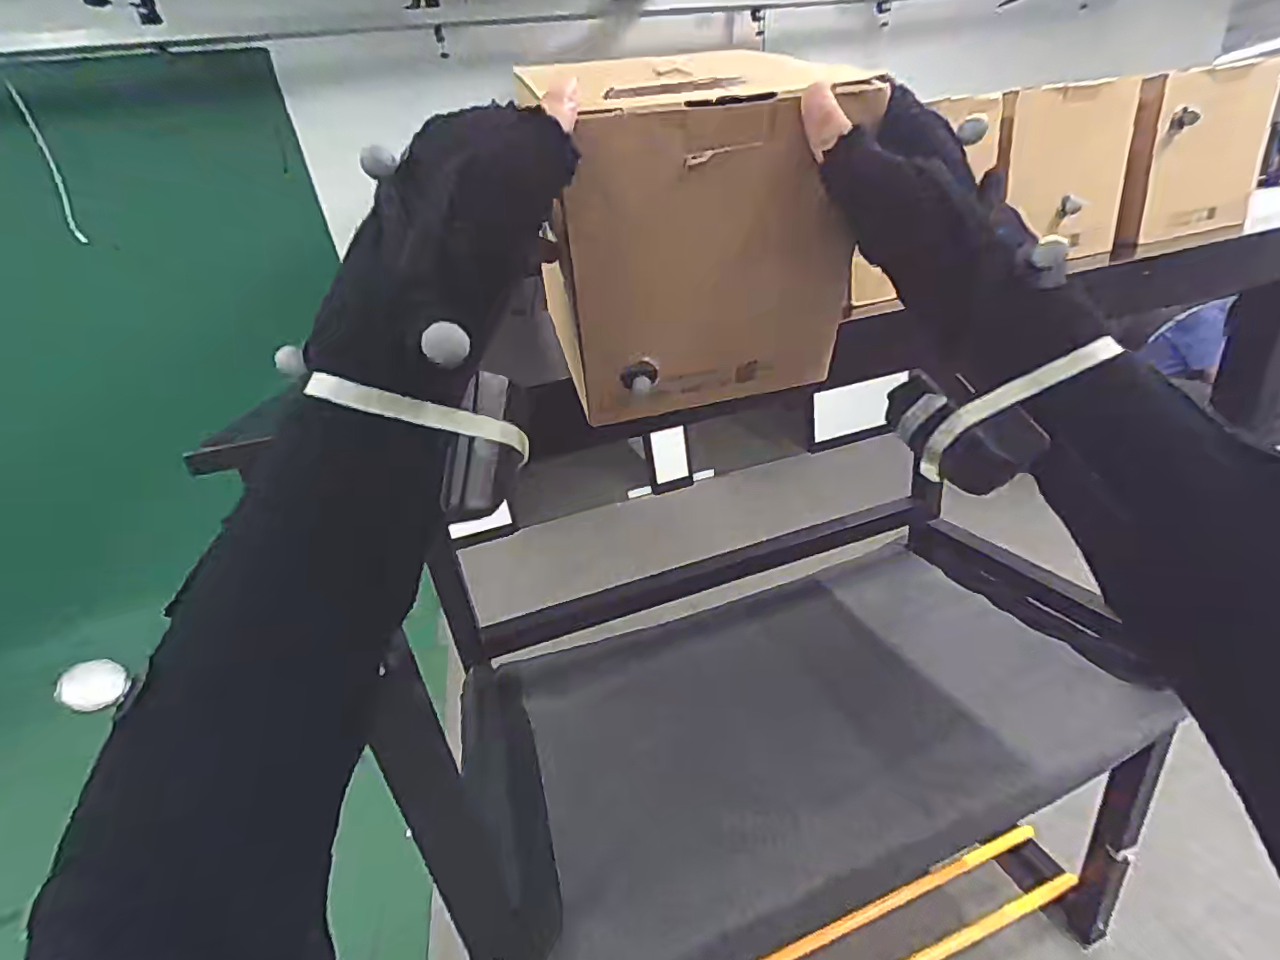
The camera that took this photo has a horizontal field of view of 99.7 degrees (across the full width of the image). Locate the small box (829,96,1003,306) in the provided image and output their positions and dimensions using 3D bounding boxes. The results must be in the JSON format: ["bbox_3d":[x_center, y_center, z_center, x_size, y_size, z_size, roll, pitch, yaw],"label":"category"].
[{"bbox_3d":[0.239,-0.284,0.579,0.168,0.176,0.179,-14,24,-14],"label":"small box"}]

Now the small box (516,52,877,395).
[{"bbox_3d":[0.021,-0.169,0.362,0.168,0.176,0.179,-12,41,-10],"label":"small box"}]
